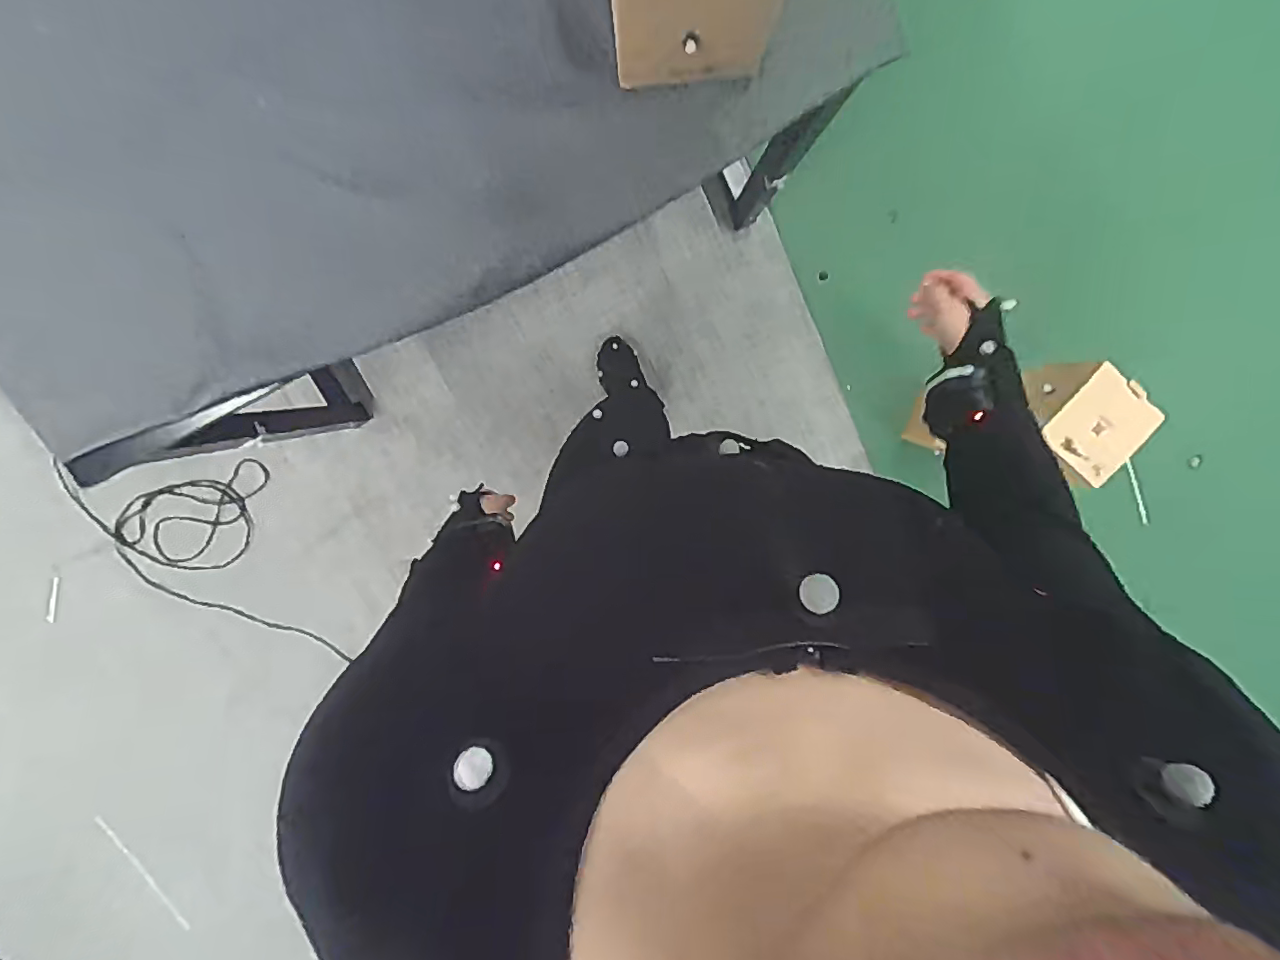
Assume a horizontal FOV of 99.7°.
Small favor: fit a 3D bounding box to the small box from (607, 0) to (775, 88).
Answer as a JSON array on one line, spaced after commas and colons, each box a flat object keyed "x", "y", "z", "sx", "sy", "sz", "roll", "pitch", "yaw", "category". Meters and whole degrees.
[{"x": 0.046, "y": -0.537, "z": 0.553, "sx": 0.168, "sy": 0.176, "sz": 0.179, "roll": -6, "pitch": 98, "yaw": 0, "category": "small box"}]

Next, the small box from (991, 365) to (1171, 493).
[{"x": 0.843, "y": -0.104, "z": 1.053, "sx": 0.168, "sy": 0.176, "sz": 0.179, "roll": 38, "pitch": 97, "yaw": -6, "category": "small box"}]

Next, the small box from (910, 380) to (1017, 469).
[{"x": 0.825, "y": -0.145, "z": 1.380, "sx": 0.168, "sy": 0.176, "sz": 0.179, "roll": 19, "pitch": 98, "yaw": -4, "category": "small box"}]
